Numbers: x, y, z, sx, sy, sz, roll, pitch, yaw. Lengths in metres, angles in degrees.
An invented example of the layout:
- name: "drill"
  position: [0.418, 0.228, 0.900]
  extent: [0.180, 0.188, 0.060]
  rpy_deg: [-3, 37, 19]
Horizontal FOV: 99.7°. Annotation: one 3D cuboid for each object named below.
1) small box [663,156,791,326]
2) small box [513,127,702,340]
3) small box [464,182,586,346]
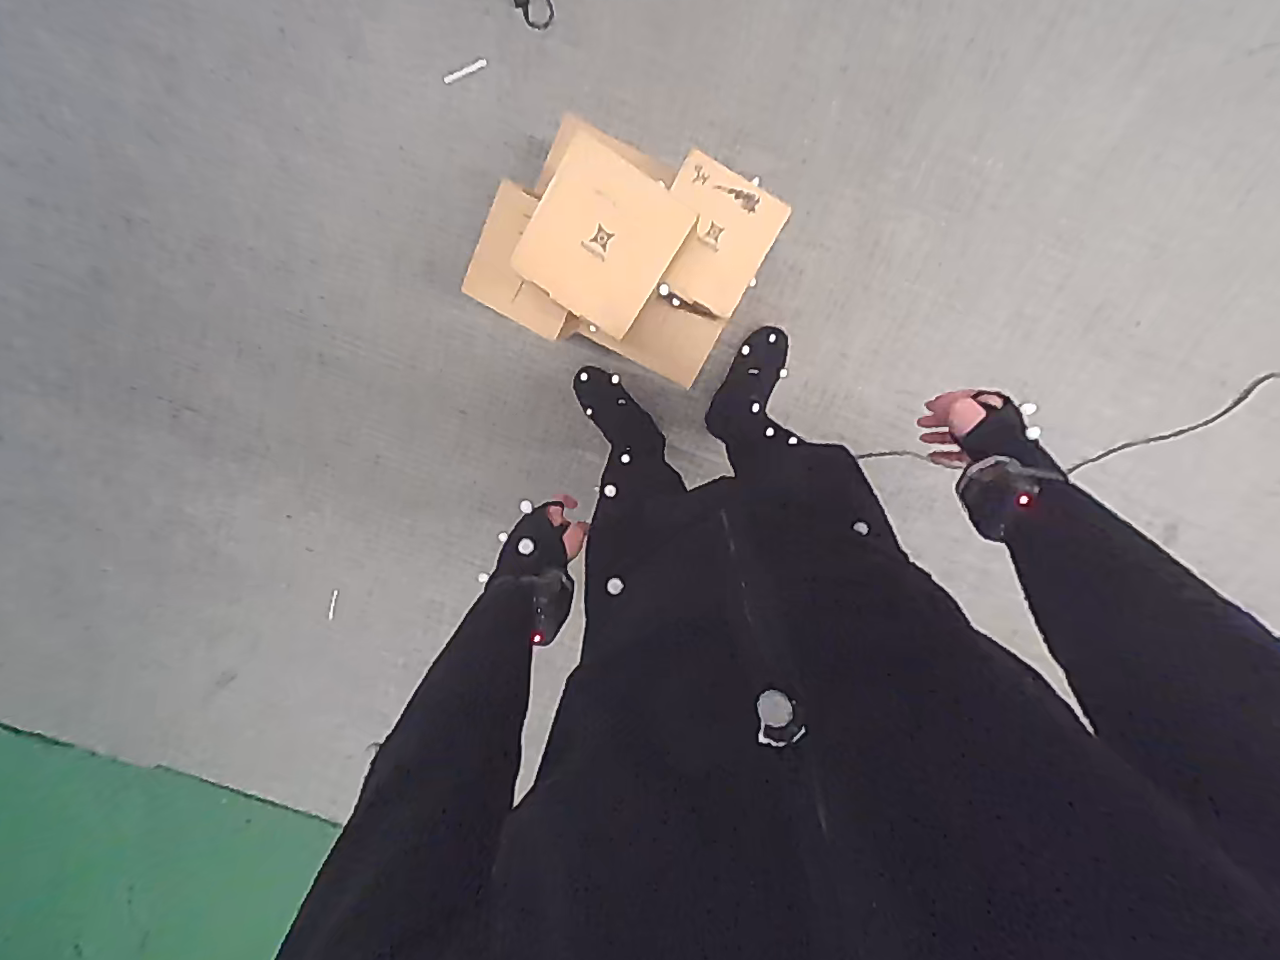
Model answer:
- name: "small box"
  position: [0.110, -0.360, 0.850]
  extent: [0.168, 0.176, 0.179]
  rpy_deg: [29, 106, -4]
- name: "small box"
  position: [-0.036, -0.304, 0.707]
  extent: [0.168, 0.176, 0.179]
  rpy_deg: [32, 105, -7]
- name: "small box"
  position: [-0.151, -0.341, 0.875]
  extent: [0.168, 0.176, 0.179]
  rpy_deg: [30, 109, -5]
